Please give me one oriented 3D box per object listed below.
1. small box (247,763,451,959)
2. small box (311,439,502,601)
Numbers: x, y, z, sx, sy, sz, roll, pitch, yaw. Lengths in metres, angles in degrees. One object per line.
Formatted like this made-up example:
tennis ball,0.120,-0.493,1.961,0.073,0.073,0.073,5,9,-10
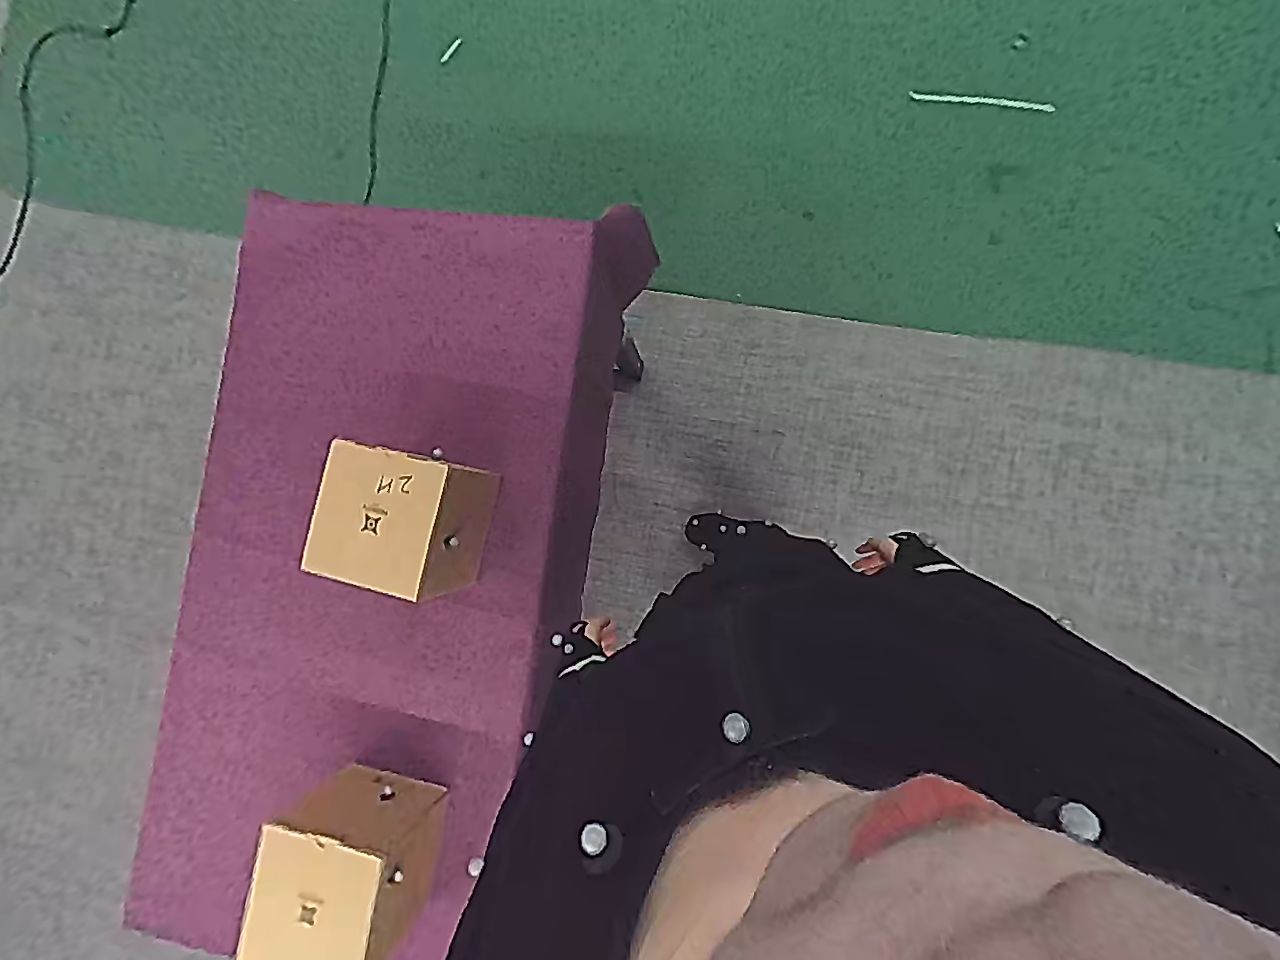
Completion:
small box,-0.383,0.527,0.741,0.168,0.176,0.179,9,86,10
small box,-0.316,0.054,0.765,0.168,0.176,0.179,13,88,9
